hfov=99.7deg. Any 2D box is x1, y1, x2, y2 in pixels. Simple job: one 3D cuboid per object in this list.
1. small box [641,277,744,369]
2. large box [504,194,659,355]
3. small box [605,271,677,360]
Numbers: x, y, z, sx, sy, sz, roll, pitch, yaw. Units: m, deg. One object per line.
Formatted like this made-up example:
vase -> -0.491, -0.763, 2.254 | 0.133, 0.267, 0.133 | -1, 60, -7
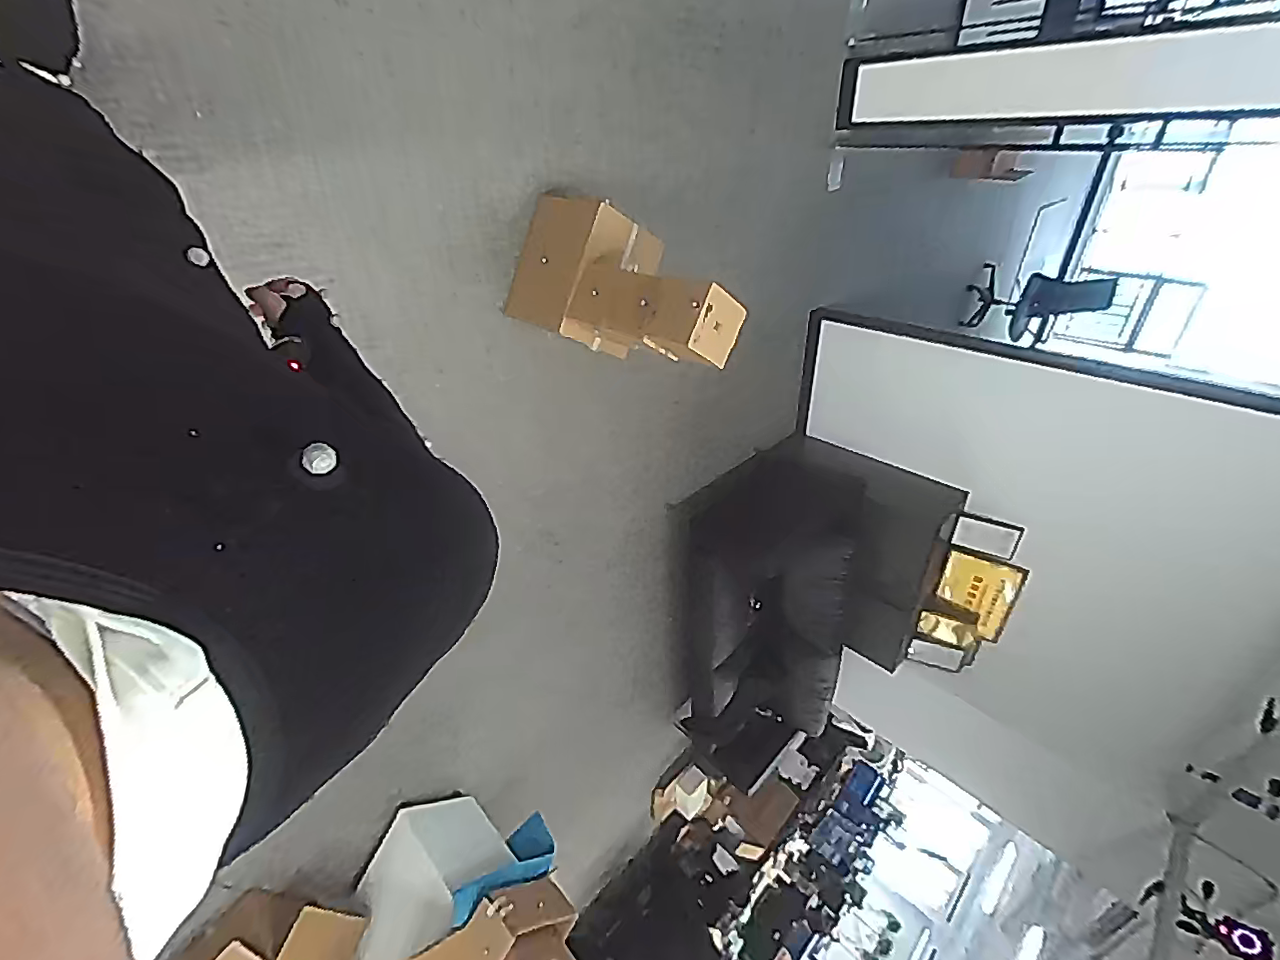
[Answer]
small box -> 0.135, -0.411, 1.404 | 0.179, 0.176, 0.168 | 15, 99, -52
large box -> -0.199, -0.675, 1.798 | 0.320, 0.320, 0.408 | 7, 106, -52
small box -> 0.027, -0.463, 1.518 | 0.168, 0.176, 0.179 | 14, 101, -51
